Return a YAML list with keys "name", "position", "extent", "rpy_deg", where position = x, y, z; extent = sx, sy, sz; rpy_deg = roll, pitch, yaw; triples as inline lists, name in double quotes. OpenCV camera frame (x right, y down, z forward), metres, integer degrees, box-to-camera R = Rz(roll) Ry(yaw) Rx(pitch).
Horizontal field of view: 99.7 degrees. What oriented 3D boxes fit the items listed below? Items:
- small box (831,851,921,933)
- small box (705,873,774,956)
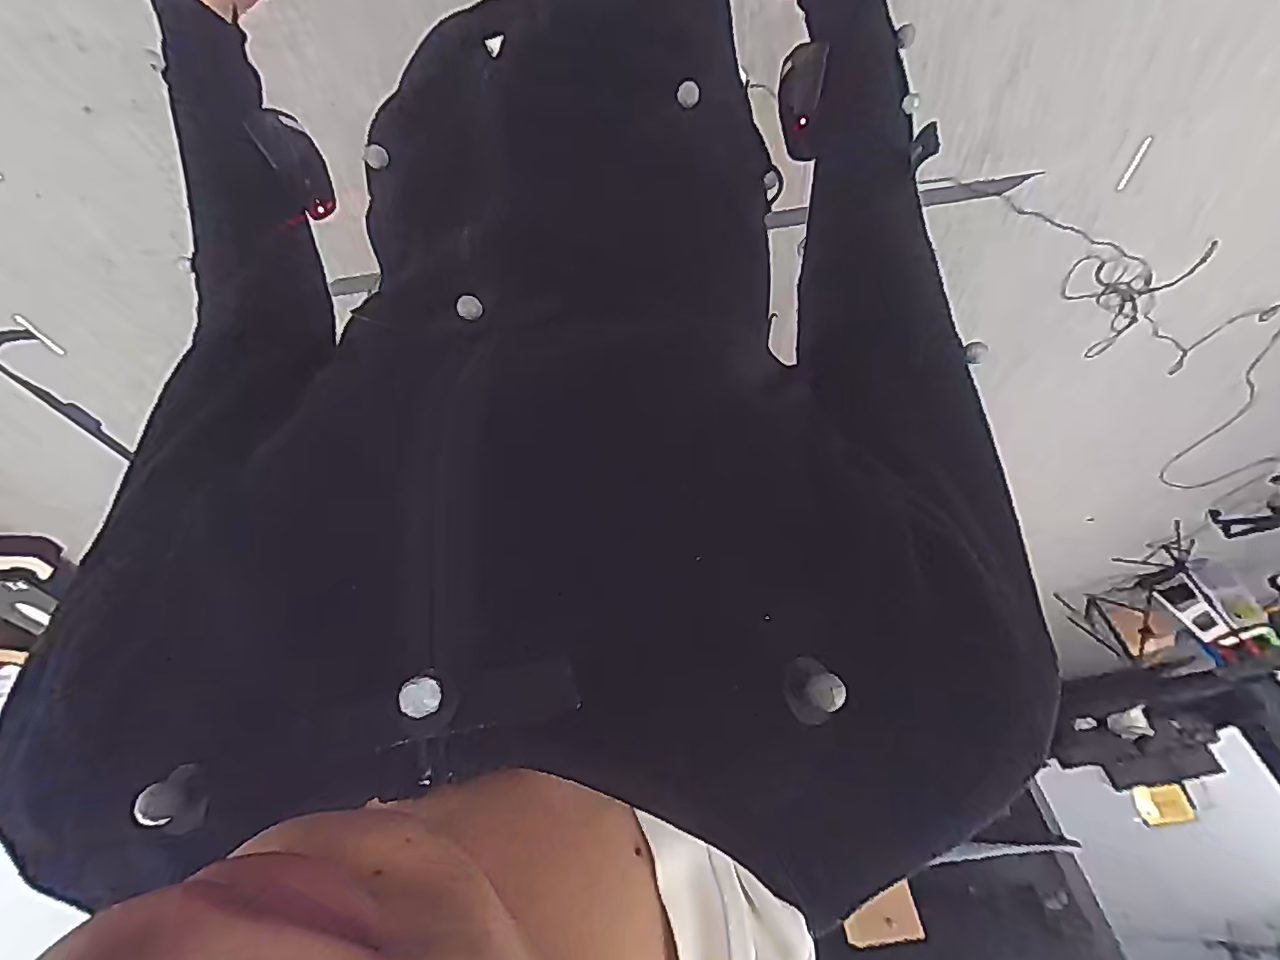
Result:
- name: "small box"
  position: [0.685, 1.214, 1.595]
  extent: [0.179, 0.176, 0.168]
  rpy_deg: [-9, 143, 0]
- name: "small box"
  position: [0.289, 1.278, 1.599]
  extent: [0.168, 0.176, 0.179]
  rpy_deg: [-10, 143, 3]
